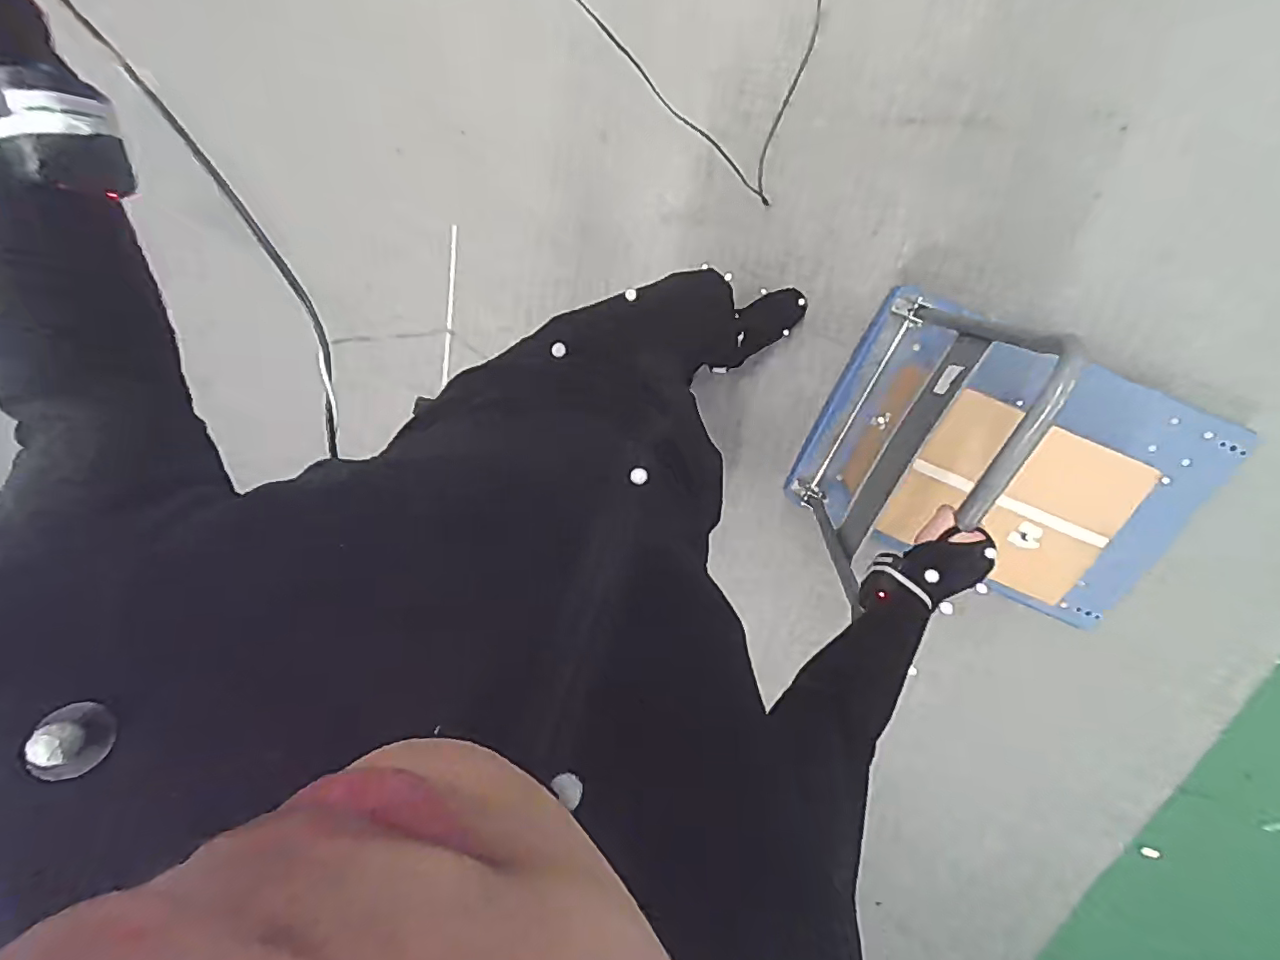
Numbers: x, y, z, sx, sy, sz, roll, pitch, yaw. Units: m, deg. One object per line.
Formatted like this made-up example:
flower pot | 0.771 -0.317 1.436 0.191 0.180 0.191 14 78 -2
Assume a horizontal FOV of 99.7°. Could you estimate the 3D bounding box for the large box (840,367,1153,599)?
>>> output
large box | 0.711 -0.014 1.168 0.408 0.320 0.320 23 112 1
